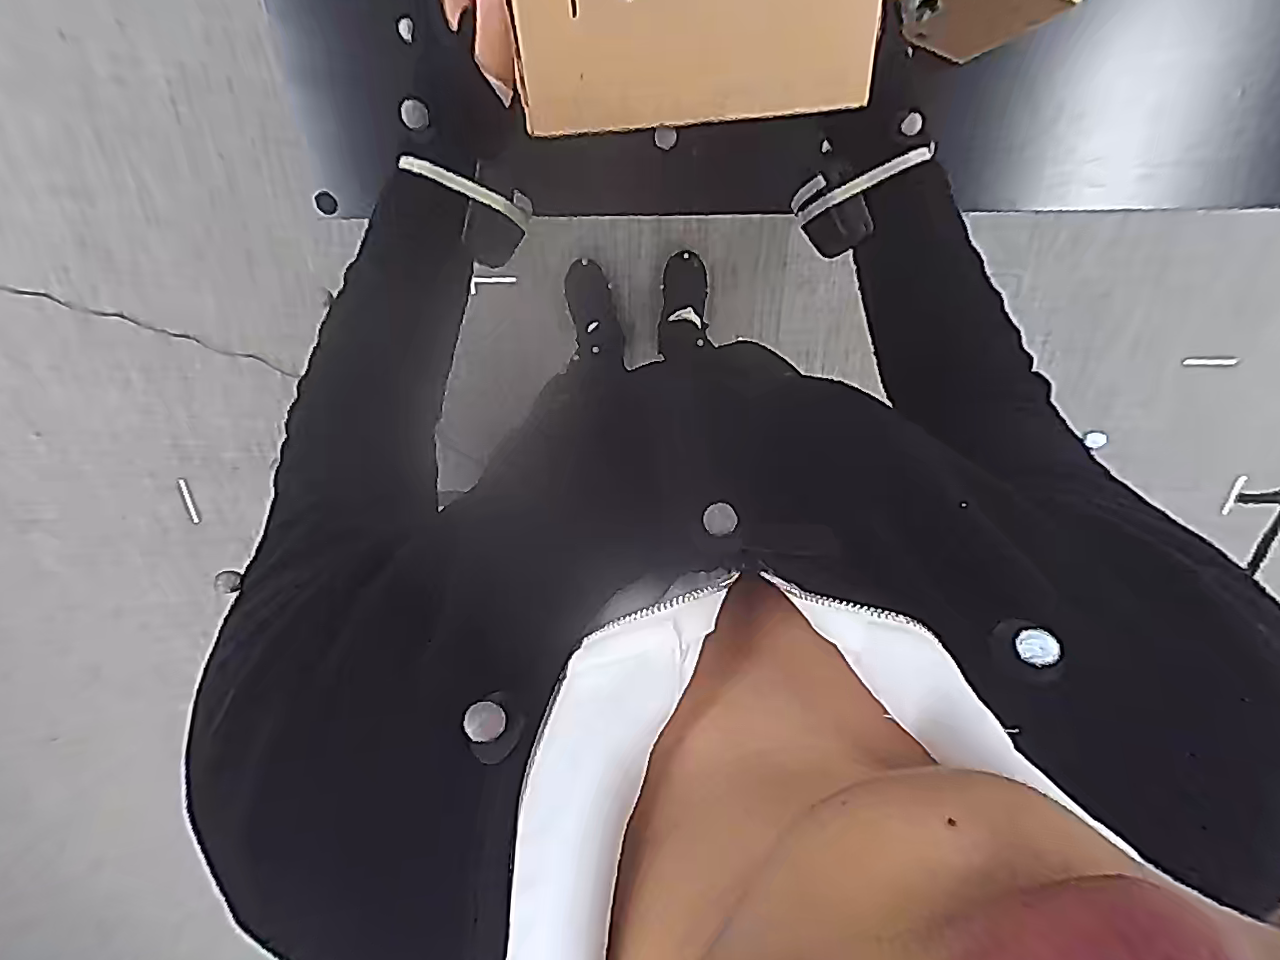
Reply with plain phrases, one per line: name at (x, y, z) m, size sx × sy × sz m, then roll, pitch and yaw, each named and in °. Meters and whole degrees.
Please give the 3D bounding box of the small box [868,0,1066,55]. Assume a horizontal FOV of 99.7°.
small box at (0.291, -0.511, 0.464) m, size 0.168 × 0.176 × 0.179 m, roll 15°, pitch 112°, yaw -10°

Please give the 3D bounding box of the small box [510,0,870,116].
small box at (0.016, -0.307, 0.300) m, size 0.179 × 0.176 × 0.168 m, roll -7°, pitch 127°, yaw -2°
